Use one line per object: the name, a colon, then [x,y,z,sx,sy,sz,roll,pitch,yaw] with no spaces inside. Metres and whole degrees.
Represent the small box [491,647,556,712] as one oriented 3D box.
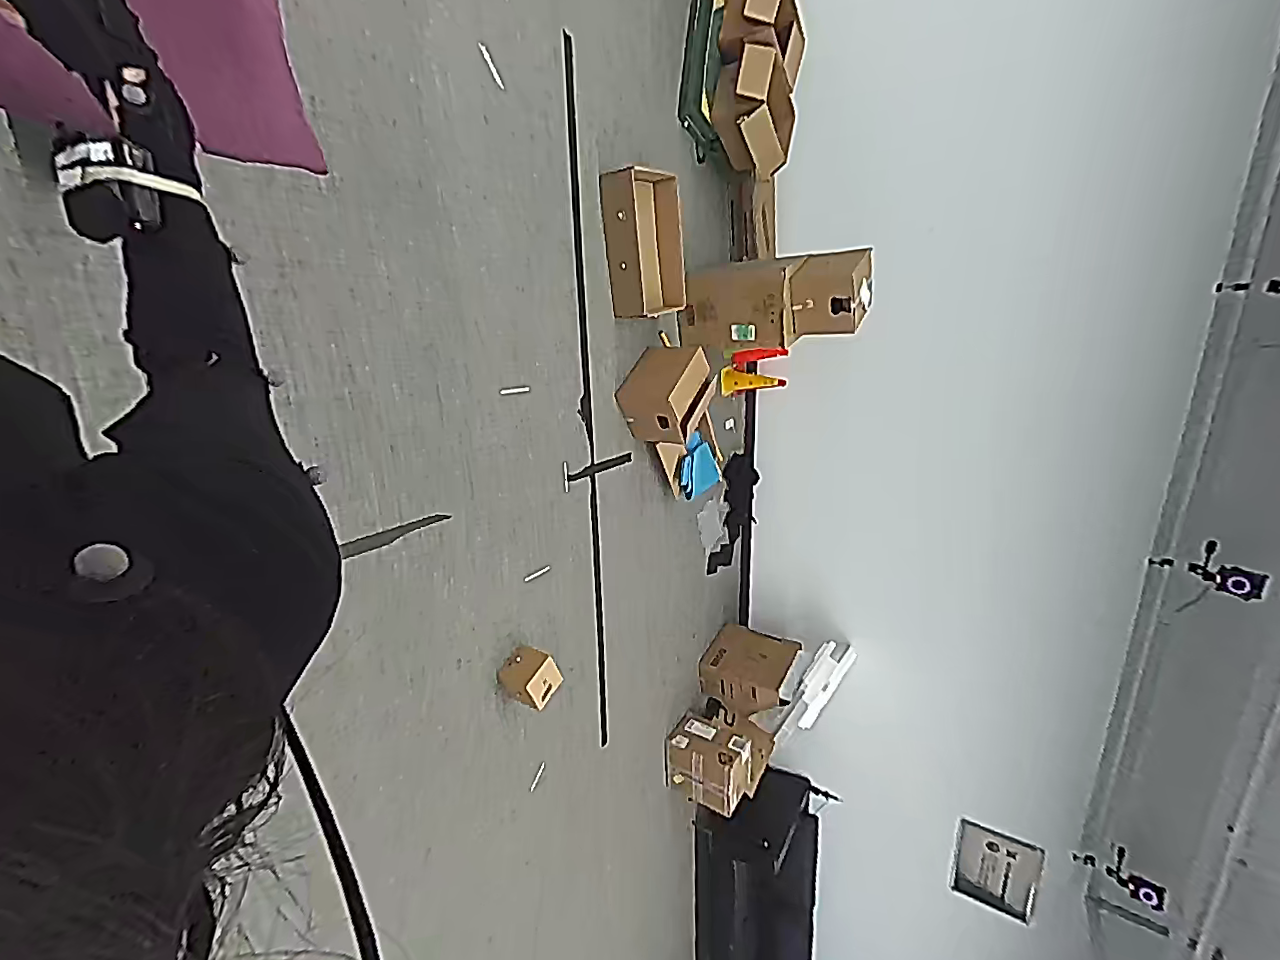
small box: [-0.488,0.830,2.267,0.168,0.176,0.179,-50,136,-41]
